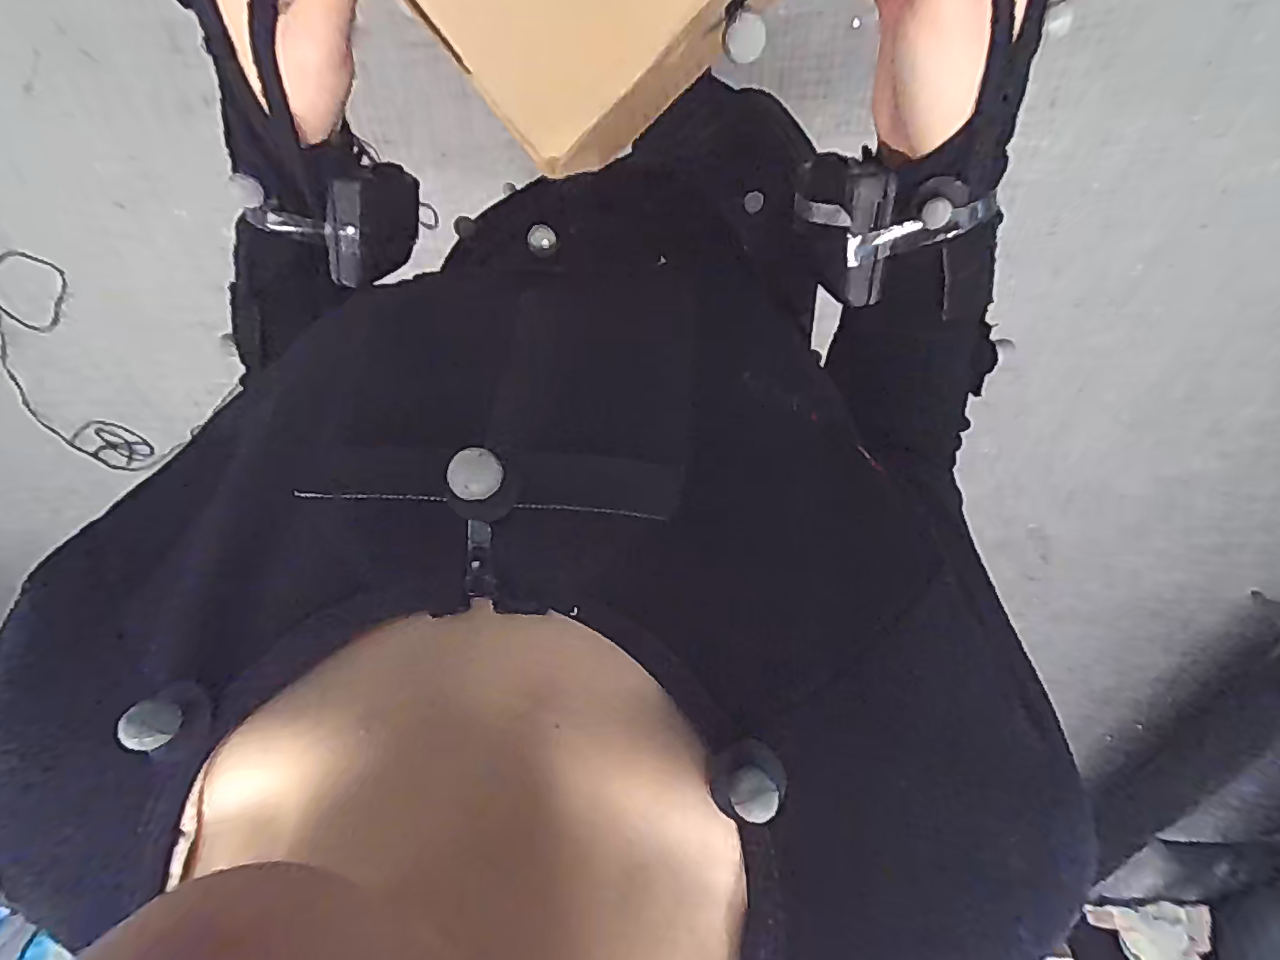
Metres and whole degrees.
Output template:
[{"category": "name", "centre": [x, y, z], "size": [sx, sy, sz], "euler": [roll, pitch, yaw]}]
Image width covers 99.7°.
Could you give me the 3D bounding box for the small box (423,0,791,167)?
[{"category": "small box", "centre": [-0.003, -0.231, 0.170], "size": [0.179, 0.176, 0.168], "euler": [-35, 114, 20]}]
